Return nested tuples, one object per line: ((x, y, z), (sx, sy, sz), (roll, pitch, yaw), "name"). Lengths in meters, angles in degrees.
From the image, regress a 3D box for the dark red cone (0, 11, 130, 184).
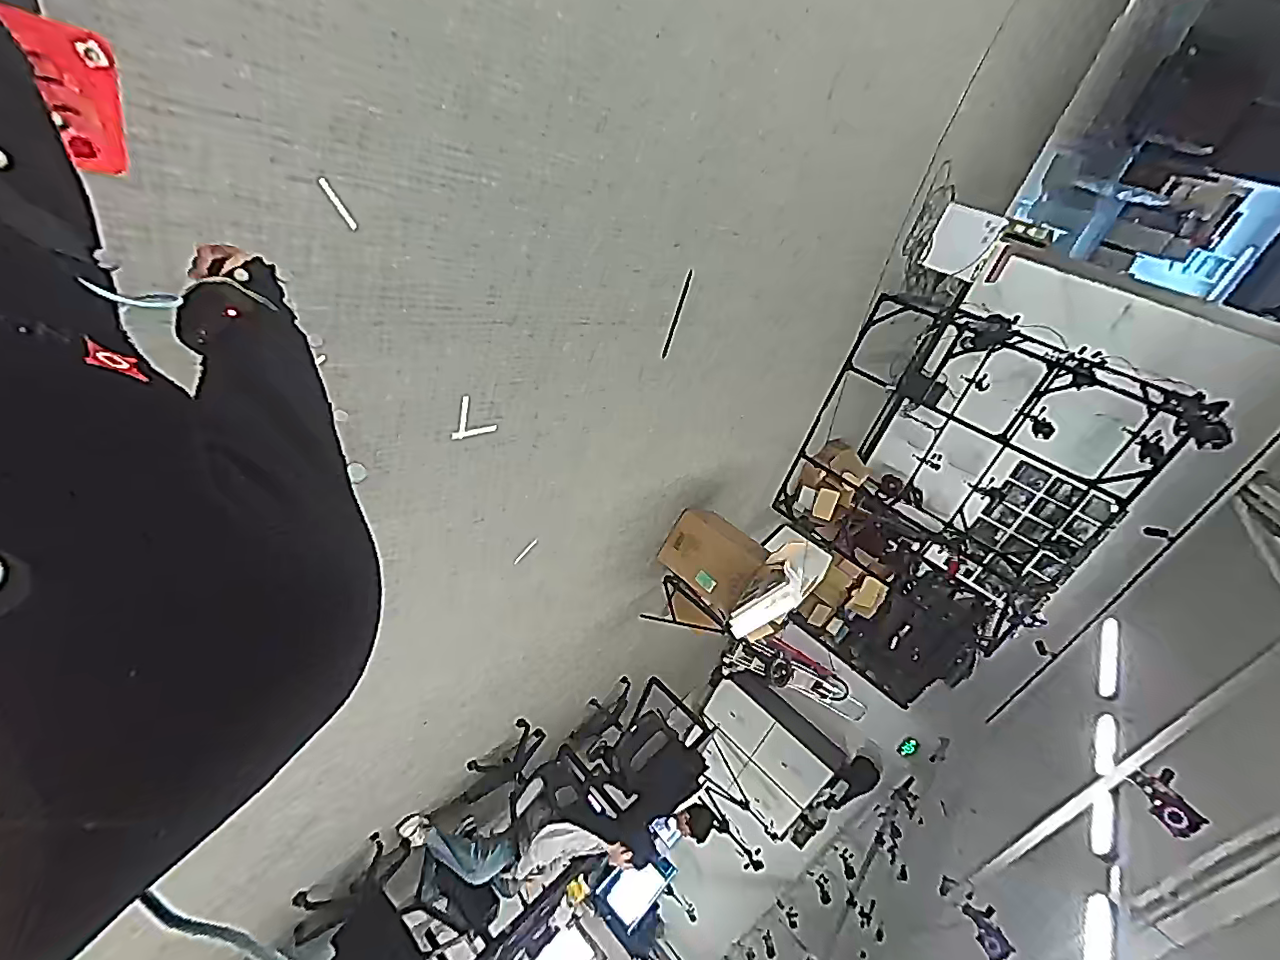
((-0.785, -0.478, 0.722), (0.201, 0.394, 0.202), (-17, 136, -47), "dark red cone")
